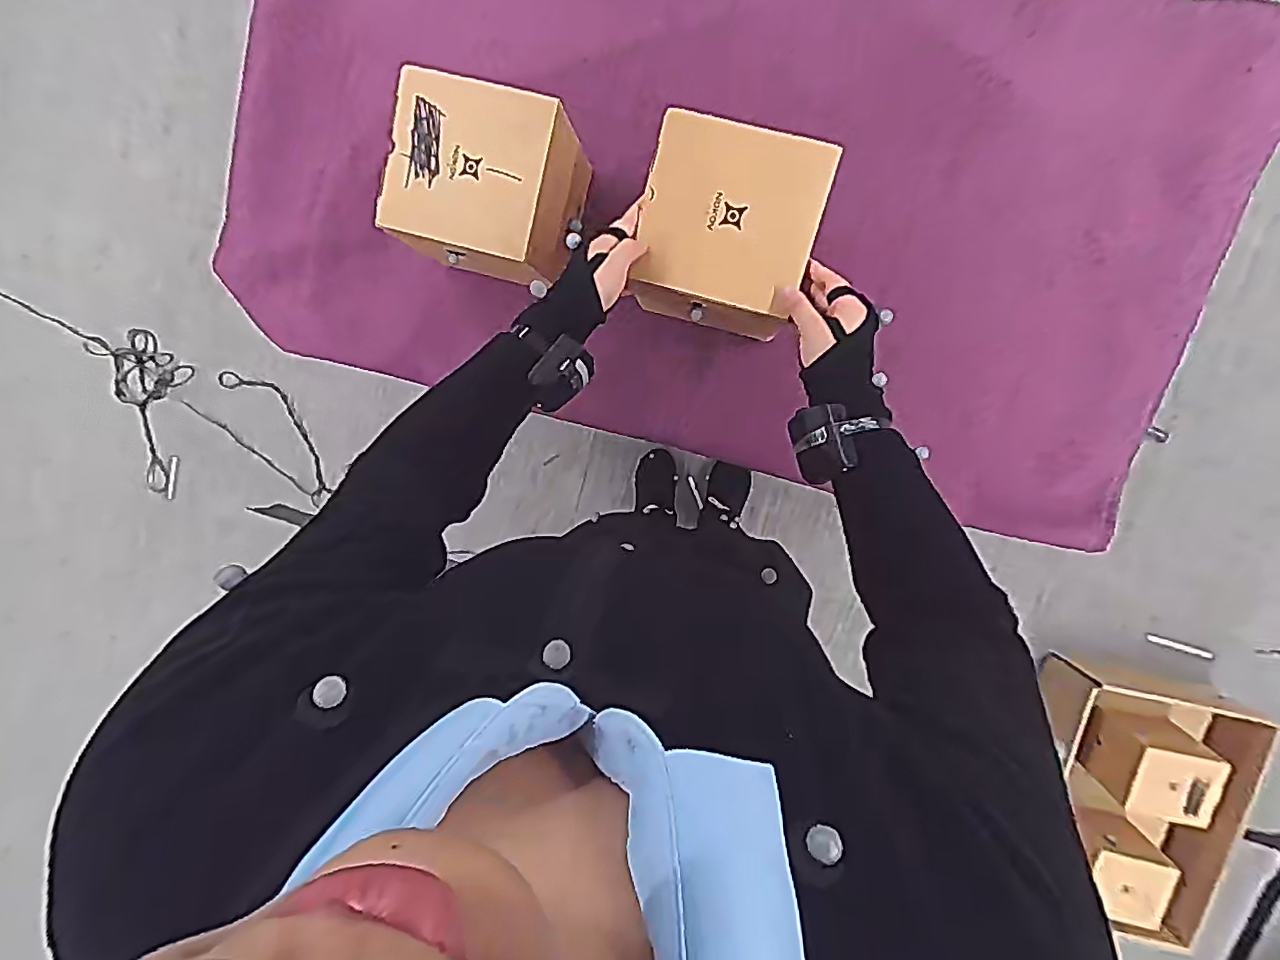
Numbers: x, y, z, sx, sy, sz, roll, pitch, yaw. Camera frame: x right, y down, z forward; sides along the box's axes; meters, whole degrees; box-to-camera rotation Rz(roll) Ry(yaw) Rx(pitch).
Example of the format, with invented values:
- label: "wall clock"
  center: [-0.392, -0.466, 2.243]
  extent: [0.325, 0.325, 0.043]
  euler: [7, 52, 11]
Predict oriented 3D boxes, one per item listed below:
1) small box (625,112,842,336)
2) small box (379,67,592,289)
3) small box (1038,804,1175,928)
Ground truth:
- label: "small box"
  center: [0.099, -0.268, 0.609]
  extent: [0.179, 0.176, 0.168]
  euler: [17, 99, 6]
- label: "small box"
  center: [-0.172, -0.342, 0.648]
  extent: [0.179, 0.176, 0.168]
  euler: [16, 99, 4]
- label: "small box"
  center: [1.141, 0.944, 1.340]
  extent: [0.179, 0.176, 0.168]
  euler: [12, 99, 5]
